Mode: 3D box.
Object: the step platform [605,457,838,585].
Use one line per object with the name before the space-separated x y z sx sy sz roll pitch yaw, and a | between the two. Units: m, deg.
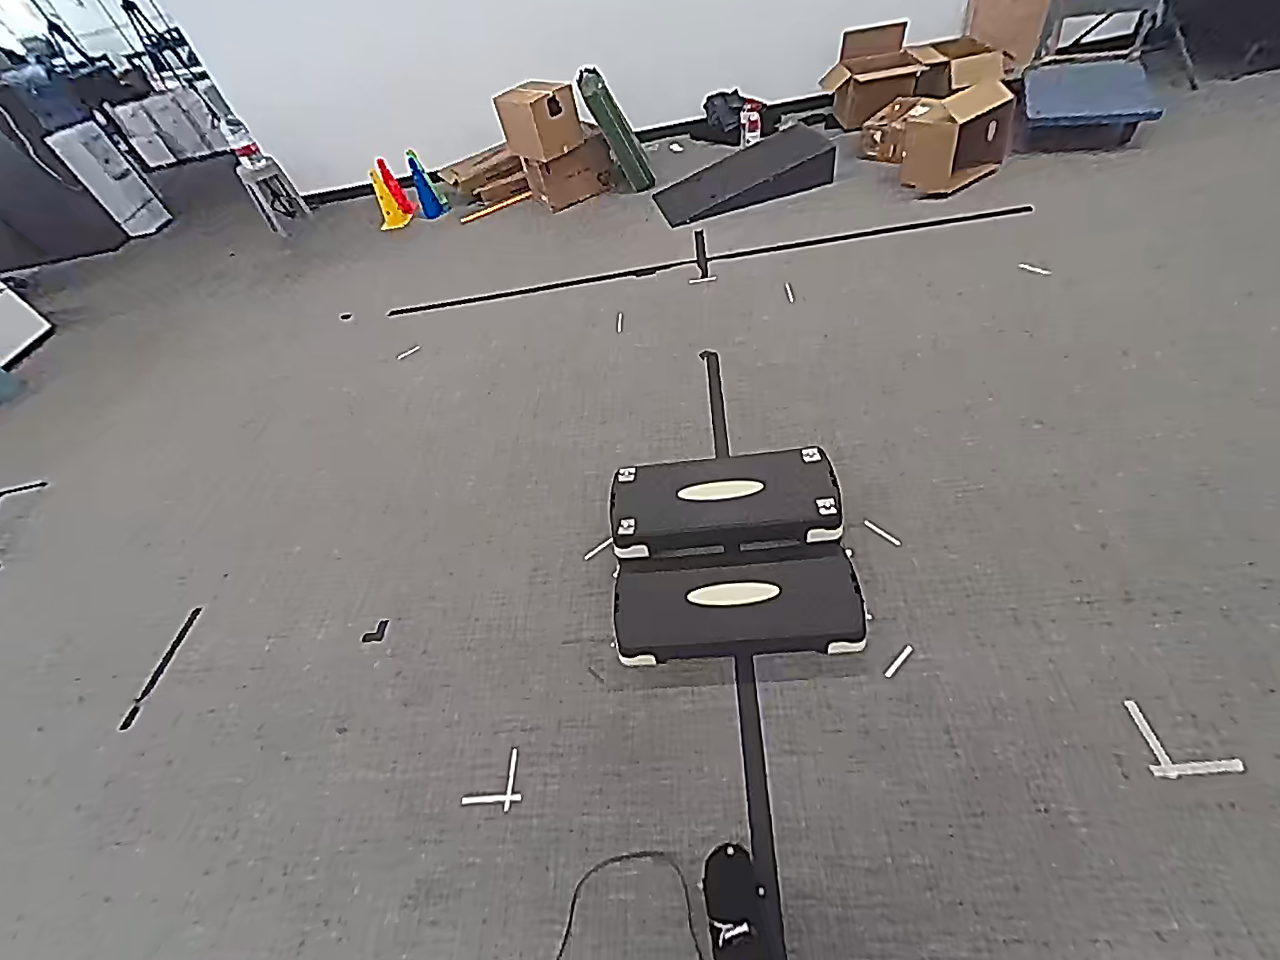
step platform | 0.235 0.122 1.638 0.684 0.204 0.286 -7 49 6
